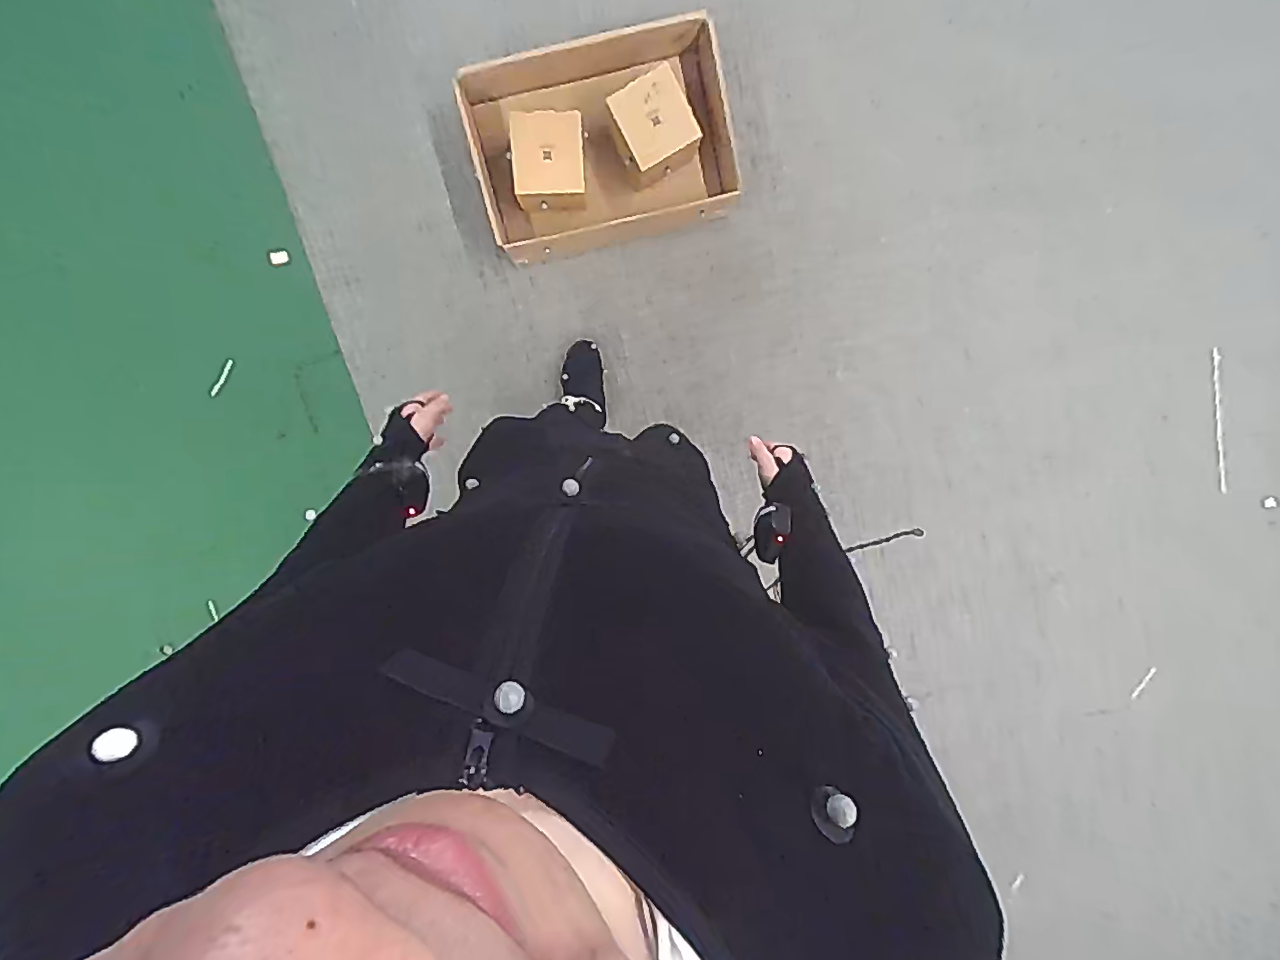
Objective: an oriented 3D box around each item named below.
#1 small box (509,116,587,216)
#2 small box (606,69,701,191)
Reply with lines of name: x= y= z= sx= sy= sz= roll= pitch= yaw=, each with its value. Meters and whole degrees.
small box: x=-0.219 y=-0.759 z=1.327 sx=0.168 sy=0.176 sz=0.179 roll=-3 pitch=100 yaw=-3
small box: x=0.031 y=-0.839 z=1.325 sx=0.168 sy=0.176 sz=0.179 roll=-29 pitch=101 yaw=3
